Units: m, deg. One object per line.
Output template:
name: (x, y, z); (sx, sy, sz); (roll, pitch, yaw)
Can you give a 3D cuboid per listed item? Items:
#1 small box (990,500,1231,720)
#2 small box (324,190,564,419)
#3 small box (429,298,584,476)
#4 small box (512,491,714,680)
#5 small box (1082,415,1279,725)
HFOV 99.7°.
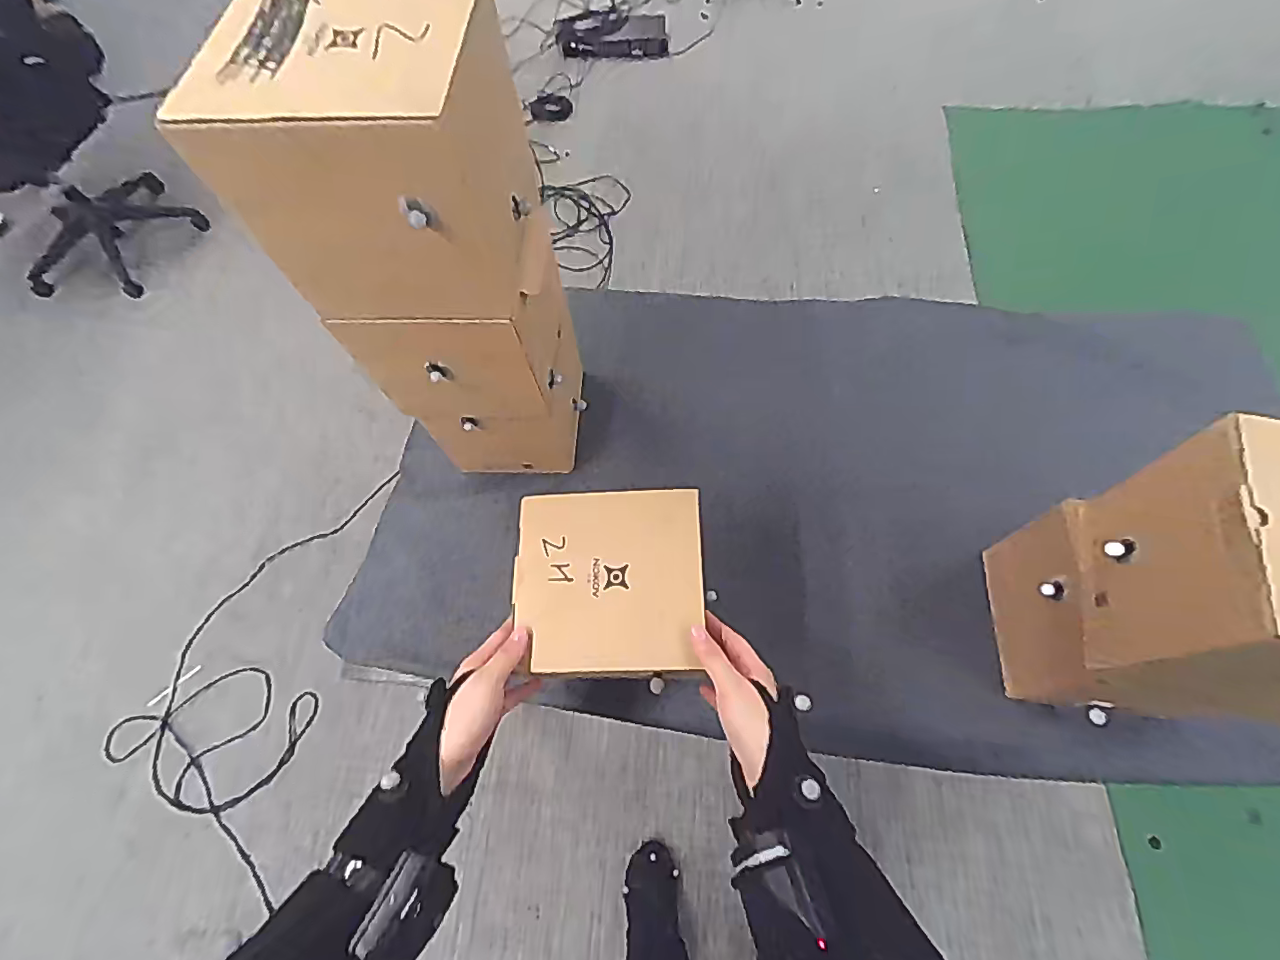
small box: (0.492, 0.138, 0.555); (0.168, 0.176, 0.179); (4, 64, 7)
small box: (-0.184, -0.175, 0.573); (0.179, 0.176, 0.168); (1, 66, 5)
small box: (-0.172, -0.121, 0.729); (0.168, 0.176, 0.179); (0, 65, 4)
small box: (-0.018, 0.118, 0.563); (0.179, 0.176, 0.168); (-4, 68, 6)
small box: (0.480, 0.079, 0.403); (0.179, 0.176, 0.168); (14, 65, 12)
